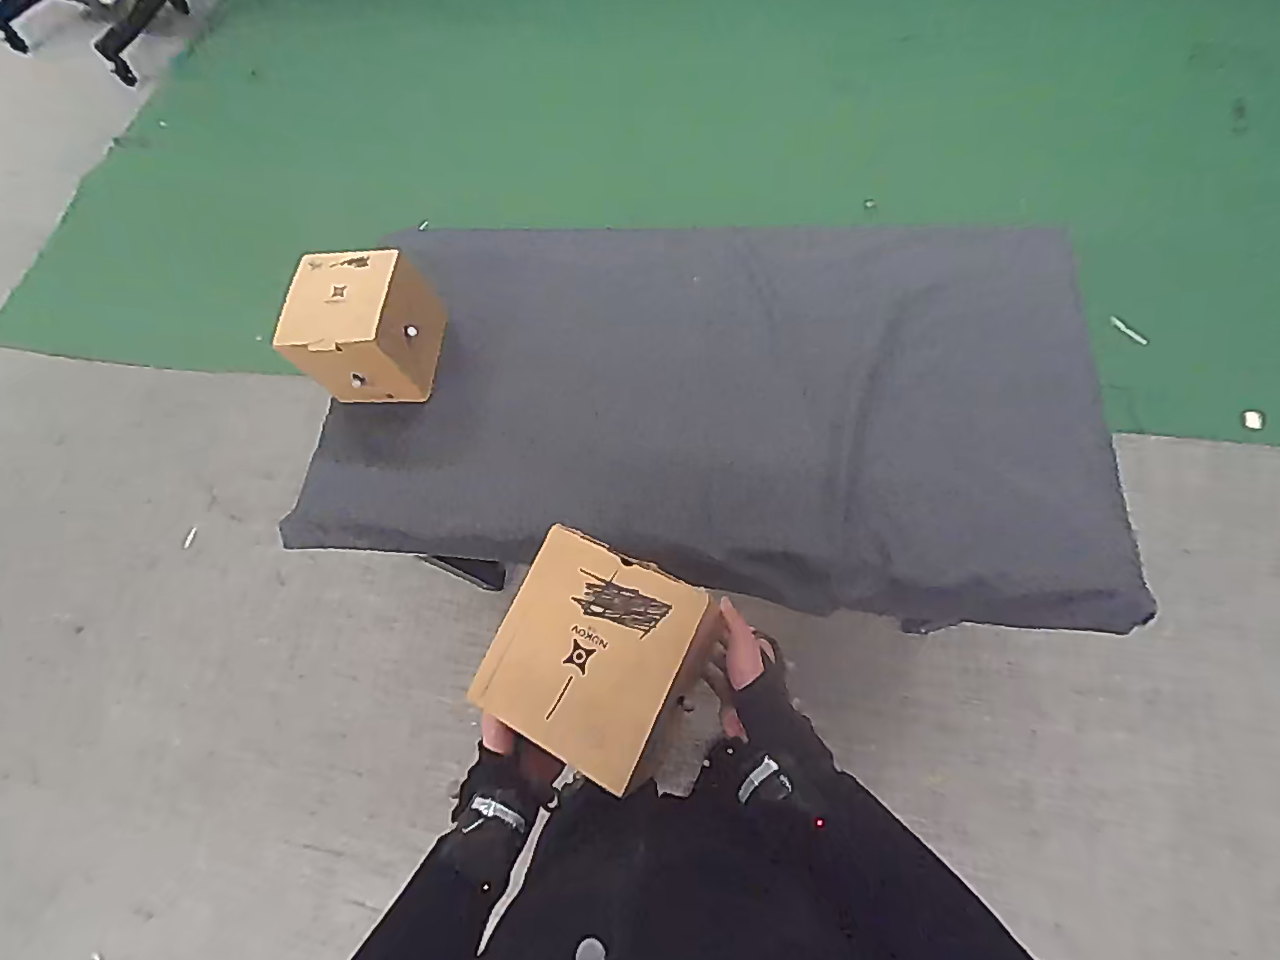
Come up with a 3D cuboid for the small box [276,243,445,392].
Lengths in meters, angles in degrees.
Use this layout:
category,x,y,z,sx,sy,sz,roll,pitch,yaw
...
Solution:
category,x,y,z,sx,sy,sz,roll,pitch,yaw
small box,-0.442,-0.256,0.888,0.168,0.176,0.179,0,70,8
